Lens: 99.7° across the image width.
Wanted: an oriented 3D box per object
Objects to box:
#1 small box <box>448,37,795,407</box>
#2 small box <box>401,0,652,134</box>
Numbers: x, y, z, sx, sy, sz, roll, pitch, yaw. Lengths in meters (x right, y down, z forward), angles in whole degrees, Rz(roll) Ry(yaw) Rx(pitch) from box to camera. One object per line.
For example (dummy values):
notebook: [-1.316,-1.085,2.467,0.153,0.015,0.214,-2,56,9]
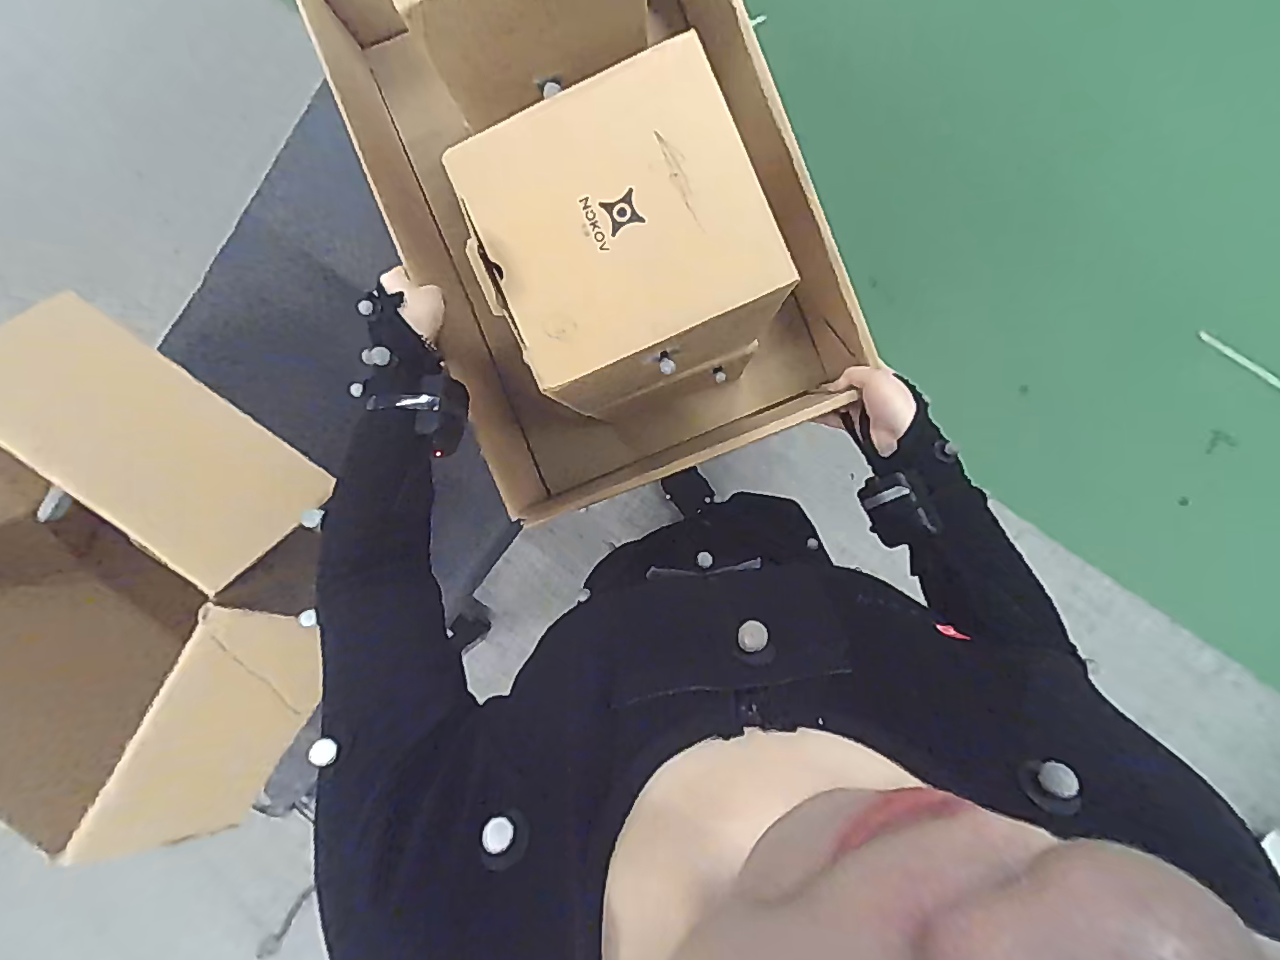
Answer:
small box: [-0.008,-0.165,0.415,0.179,0.176,0.168,-23,92,4]
small box: [-0.096,-0.403,0.404,0.168,0.176,0.179,-21,94,5]
